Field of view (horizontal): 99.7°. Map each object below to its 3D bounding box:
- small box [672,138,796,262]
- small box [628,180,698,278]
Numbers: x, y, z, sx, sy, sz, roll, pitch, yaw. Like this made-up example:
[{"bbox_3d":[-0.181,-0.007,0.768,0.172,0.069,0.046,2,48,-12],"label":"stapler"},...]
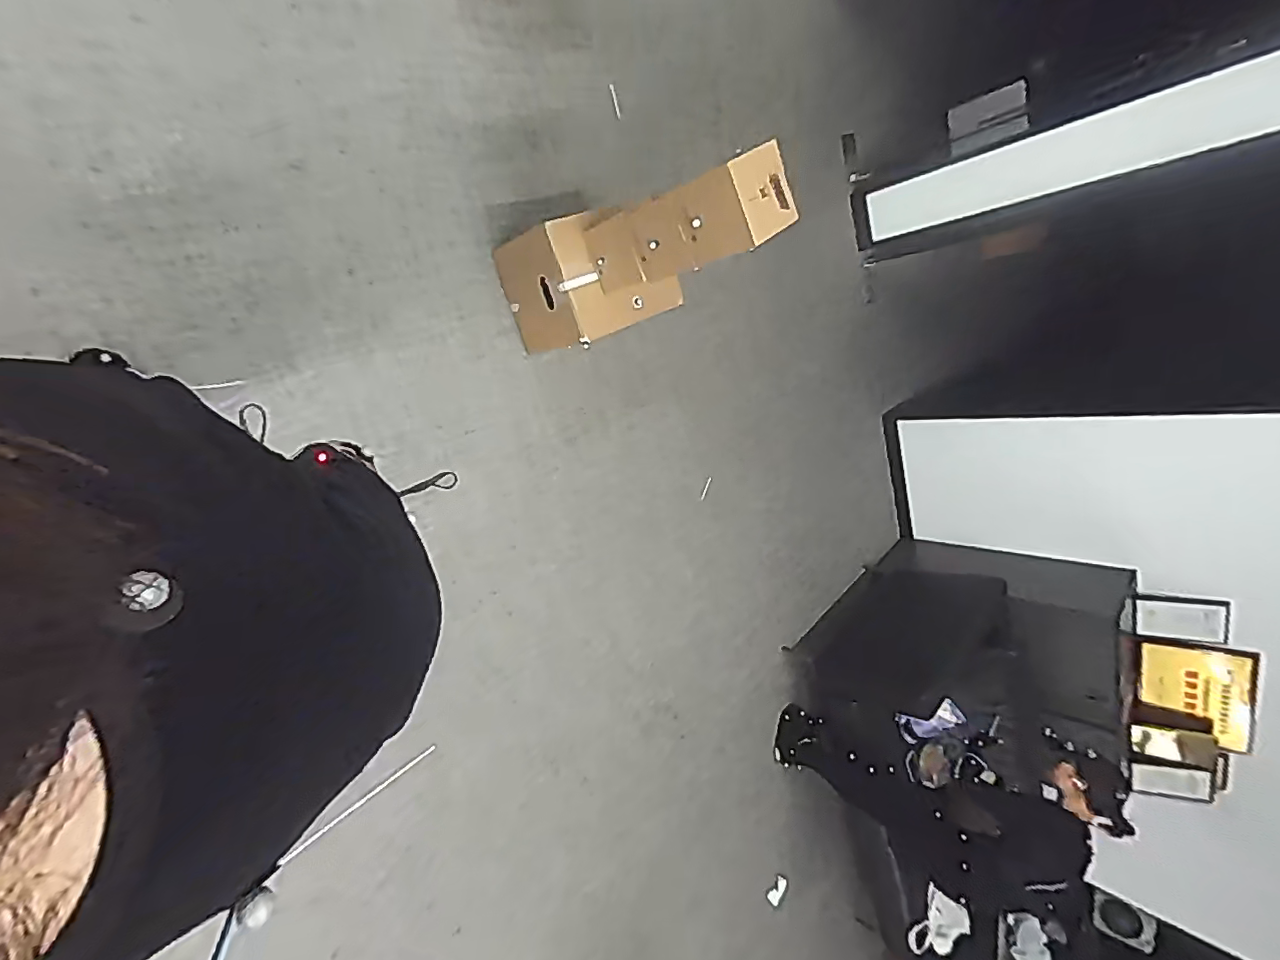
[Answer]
[{"bbox_3d":[0.200,-0.594,1.160,0.179,0.176,0.168,-42,117,-29],"label":"small box"},{"bbox_3d":[0.094,-0.603,1.286,0.179,0.176,0.168,-41,117,-29],"label":"small box"}]
